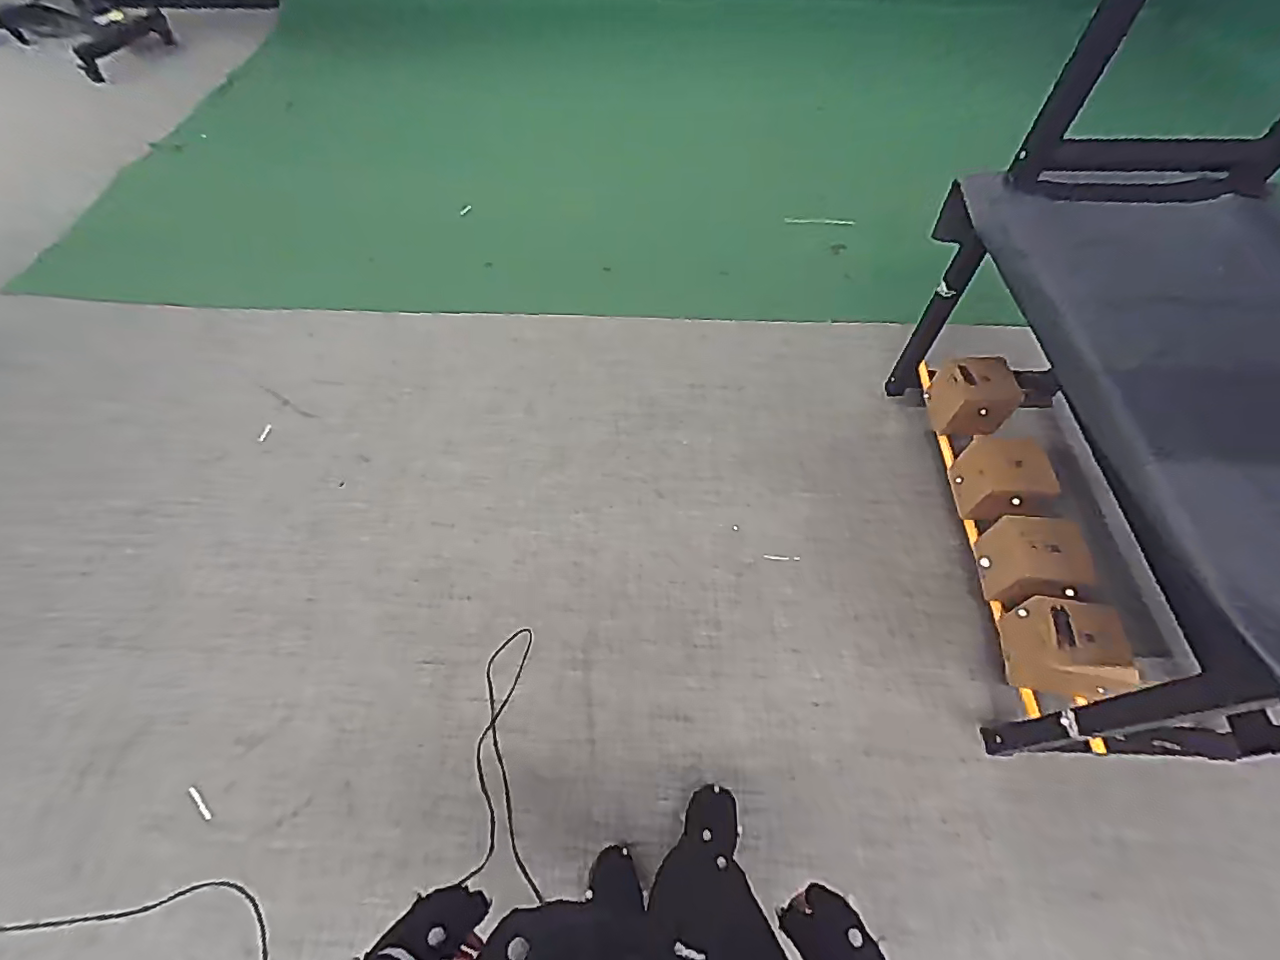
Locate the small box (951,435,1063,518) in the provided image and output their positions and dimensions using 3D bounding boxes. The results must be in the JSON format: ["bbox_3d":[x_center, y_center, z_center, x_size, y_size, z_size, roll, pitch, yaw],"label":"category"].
[{"bbox_3d":[0.986,-0.005,1.471,0.179,0.176,0.168,1,59,5],"label":"small box"}]
